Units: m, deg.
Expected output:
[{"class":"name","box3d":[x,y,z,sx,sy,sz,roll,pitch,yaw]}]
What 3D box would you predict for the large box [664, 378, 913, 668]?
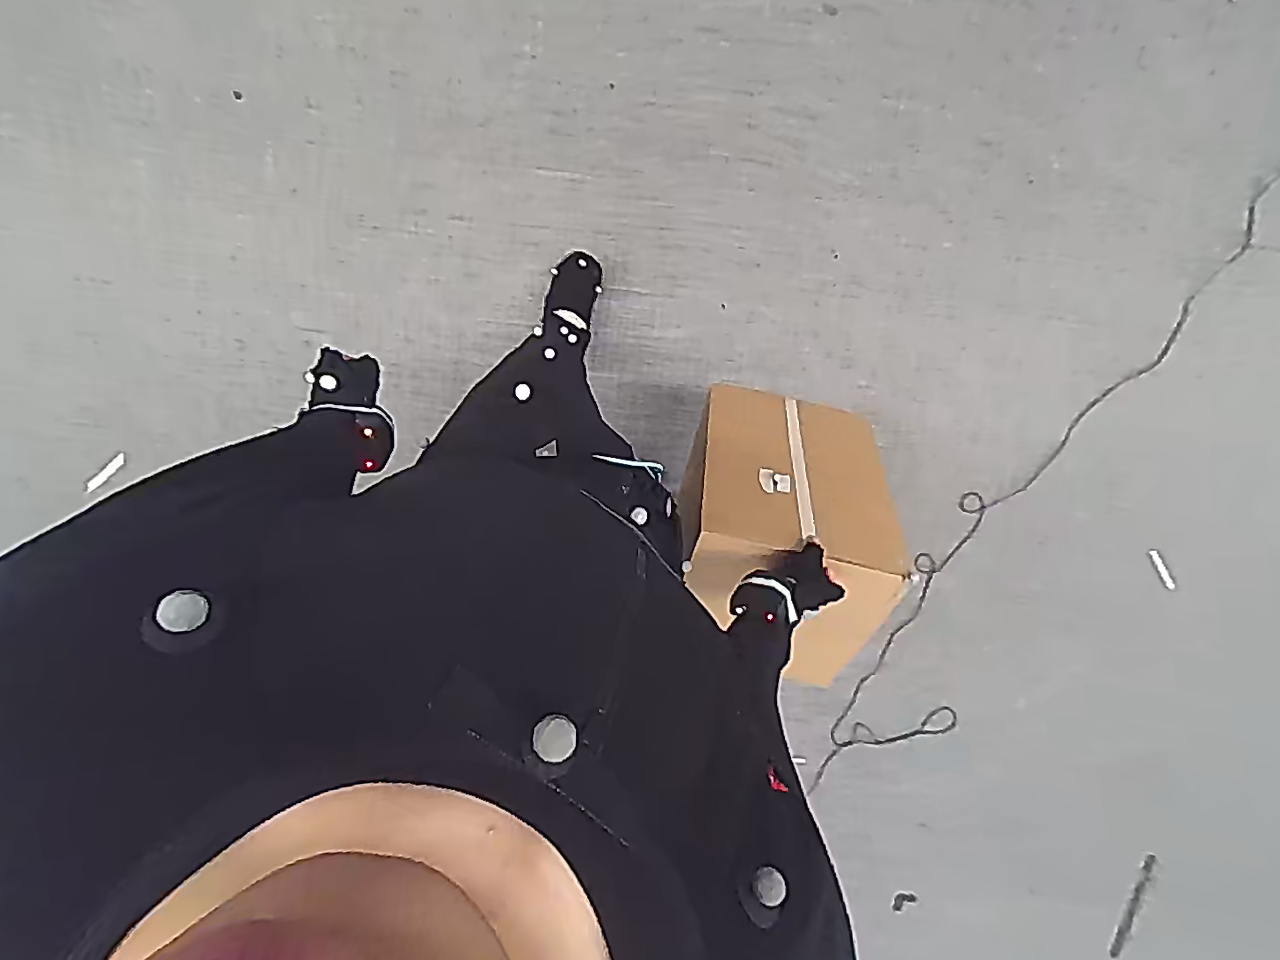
[{"class":"large box","box3d":[0.235,0.070,1.007,0.320,0.408,0.320,11,133,-1]}]
